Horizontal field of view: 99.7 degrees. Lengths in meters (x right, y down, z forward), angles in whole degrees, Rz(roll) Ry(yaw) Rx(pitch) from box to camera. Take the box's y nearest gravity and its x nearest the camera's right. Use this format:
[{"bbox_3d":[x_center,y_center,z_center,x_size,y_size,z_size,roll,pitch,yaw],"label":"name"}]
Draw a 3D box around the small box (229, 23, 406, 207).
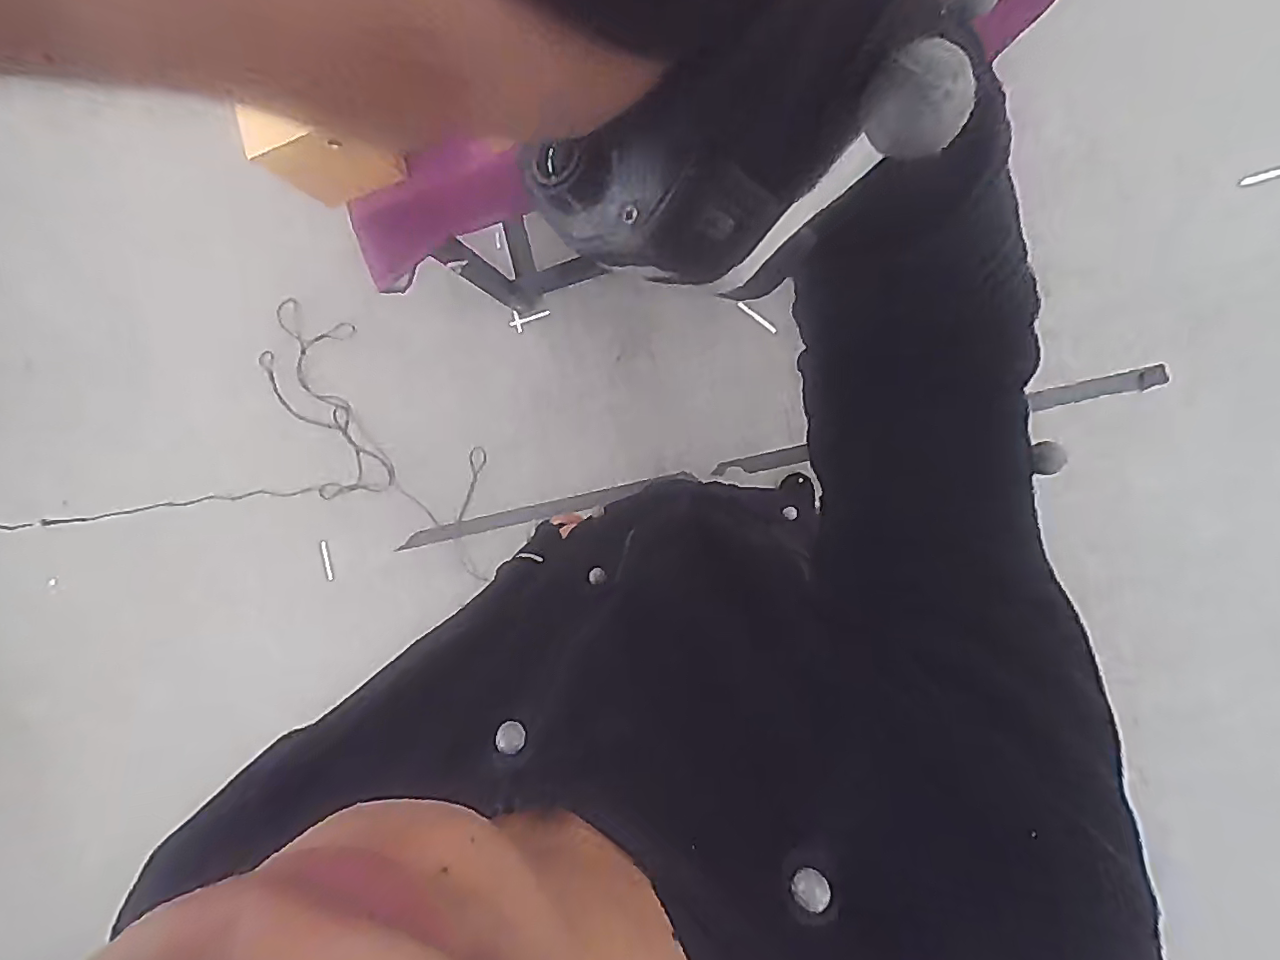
[{"bbox_3d":[-0.533,-0.596,0.911,0.179,0.176,0.168,-15,88,10],"label":"small box"}]
